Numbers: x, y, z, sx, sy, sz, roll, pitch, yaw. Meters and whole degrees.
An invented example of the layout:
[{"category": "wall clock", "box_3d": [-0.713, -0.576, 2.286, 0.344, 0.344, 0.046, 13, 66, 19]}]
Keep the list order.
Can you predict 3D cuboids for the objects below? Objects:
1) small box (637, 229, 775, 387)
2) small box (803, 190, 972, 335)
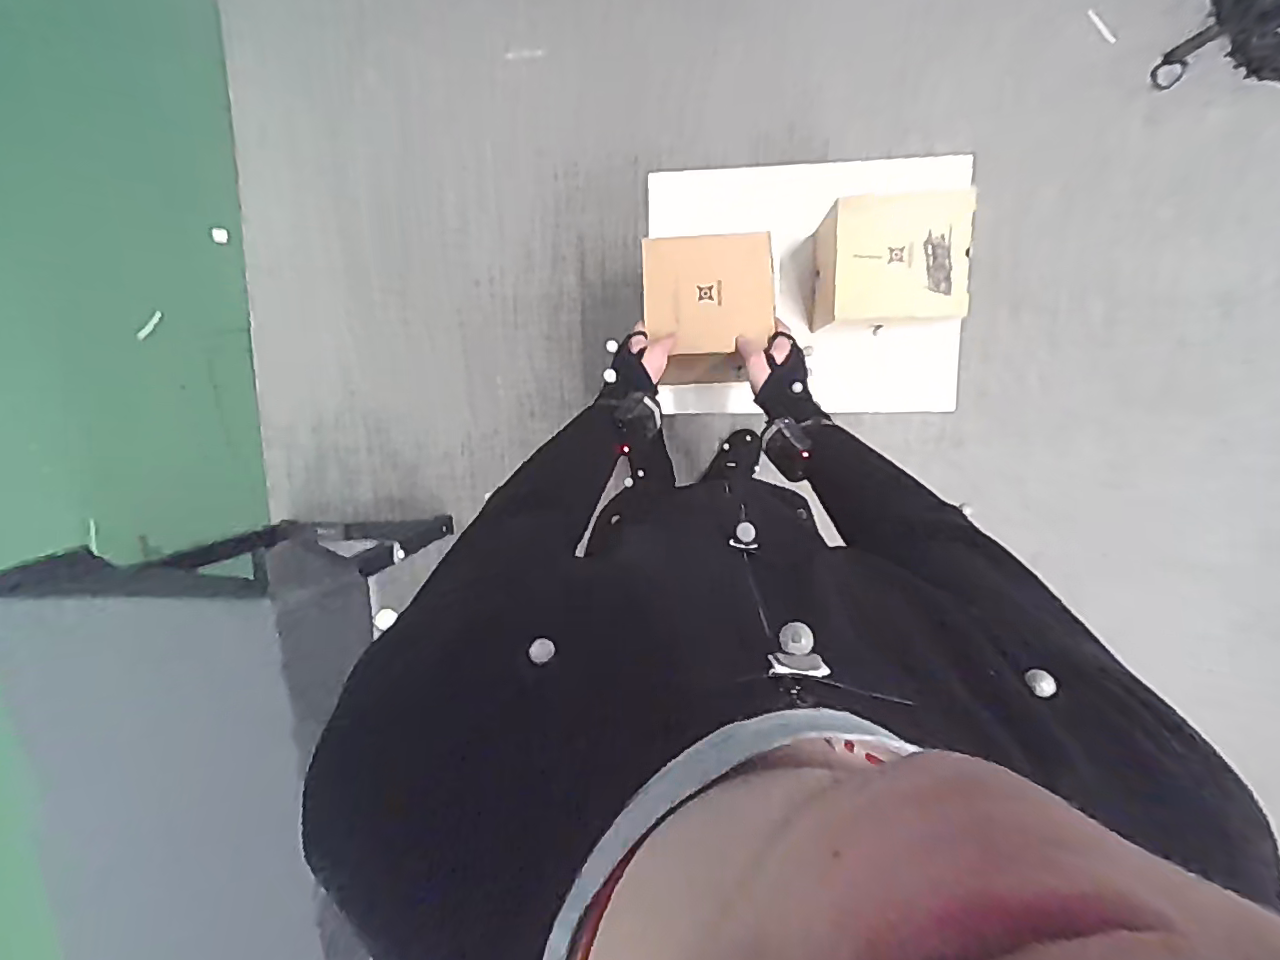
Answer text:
[{"category": "small box", "box_3d": [0.088, -0.237, 0.780, 0.179, 0.176, 0.168, -2, 85, 4]}, {"category": "small box", "box_3d": [0.350, -0.308, 0.795, 0.179, 0.176, 0.168, 1, 98, 6]}]
